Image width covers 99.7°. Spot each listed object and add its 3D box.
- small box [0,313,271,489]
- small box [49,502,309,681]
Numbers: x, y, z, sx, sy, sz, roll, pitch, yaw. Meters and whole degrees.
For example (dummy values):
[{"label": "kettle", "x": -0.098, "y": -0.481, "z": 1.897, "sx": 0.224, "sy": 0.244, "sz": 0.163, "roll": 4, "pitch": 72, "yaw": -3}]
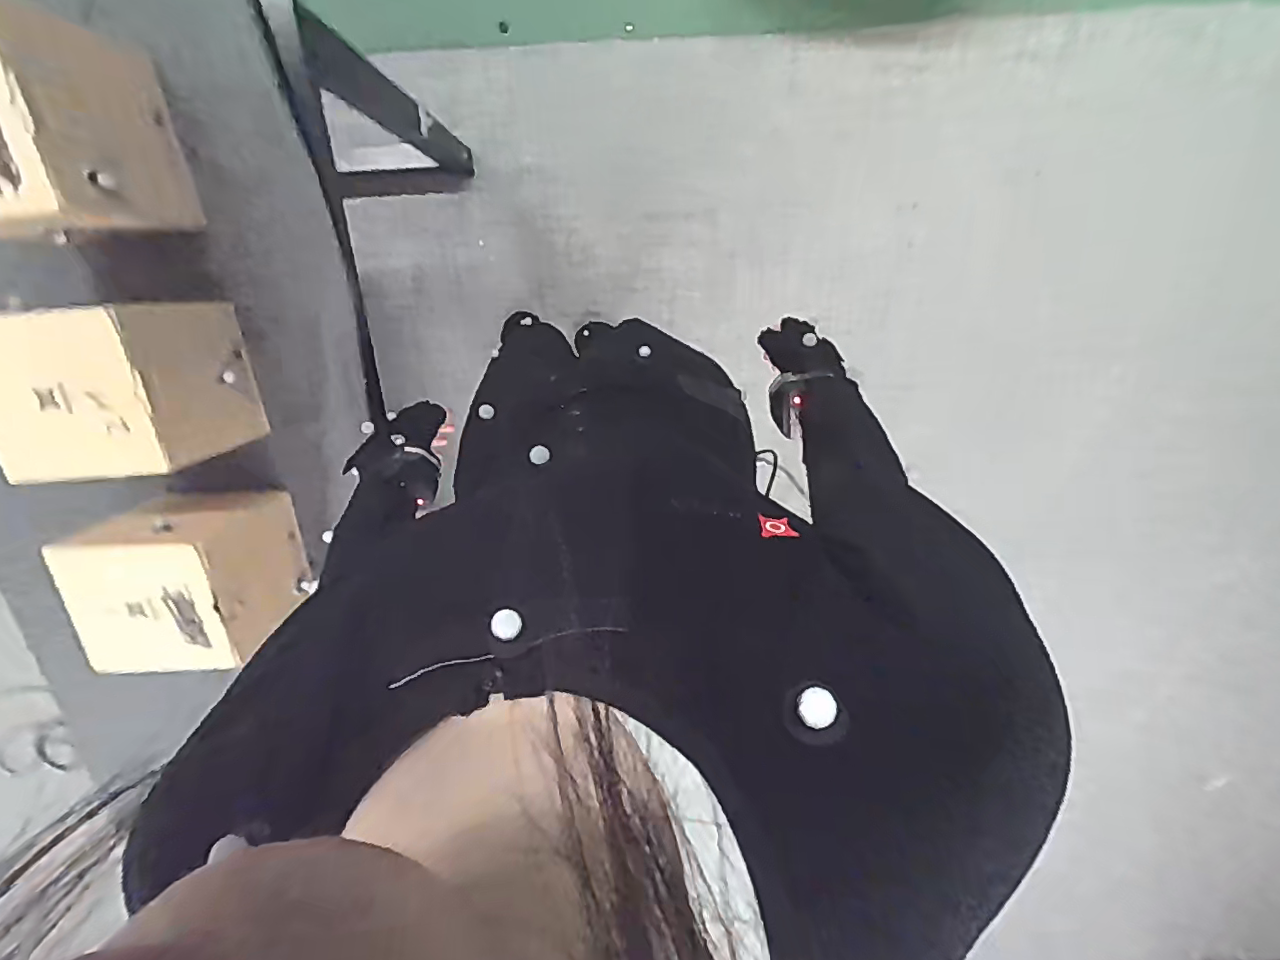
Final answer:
[{"label": "small box", "x": -0.574, "y": -0.097, "z": 0.614, "sx": 0.179, "sy": 0.176, "sz": 0.168, "roll": -4, "pitch": 110, "yaw": 1}, {"label": "small box", "x": -0.558, "y": 0.132, "z": 0.691, "sx": 0.179, "sy": 0.176, "sz": 0.168, "roll": -2, "pitch": 108, "yaw": 1}]
